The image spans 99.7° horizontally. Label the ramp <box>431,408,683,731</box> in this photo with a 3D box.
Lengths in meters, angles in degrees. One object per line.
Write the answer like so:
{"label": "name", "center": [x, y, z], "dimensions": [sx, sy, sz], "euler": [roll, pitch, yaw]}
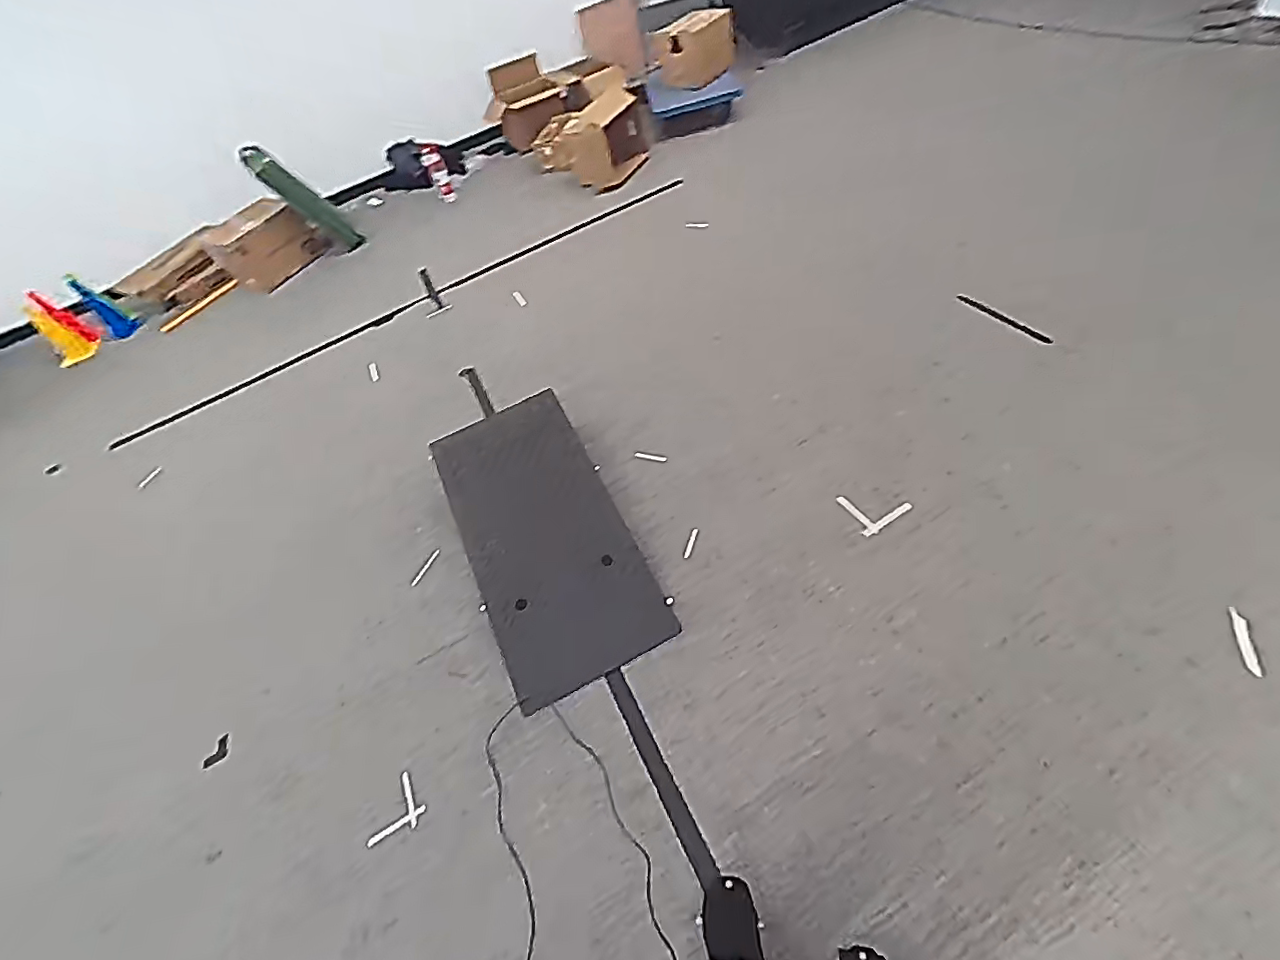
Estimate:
{"label": "ramp", "center": [-0.311, 0.209, 1.740], "dimensions": [0.509, 0.206, 0.991], "euler": [-29, 50, -9]}
